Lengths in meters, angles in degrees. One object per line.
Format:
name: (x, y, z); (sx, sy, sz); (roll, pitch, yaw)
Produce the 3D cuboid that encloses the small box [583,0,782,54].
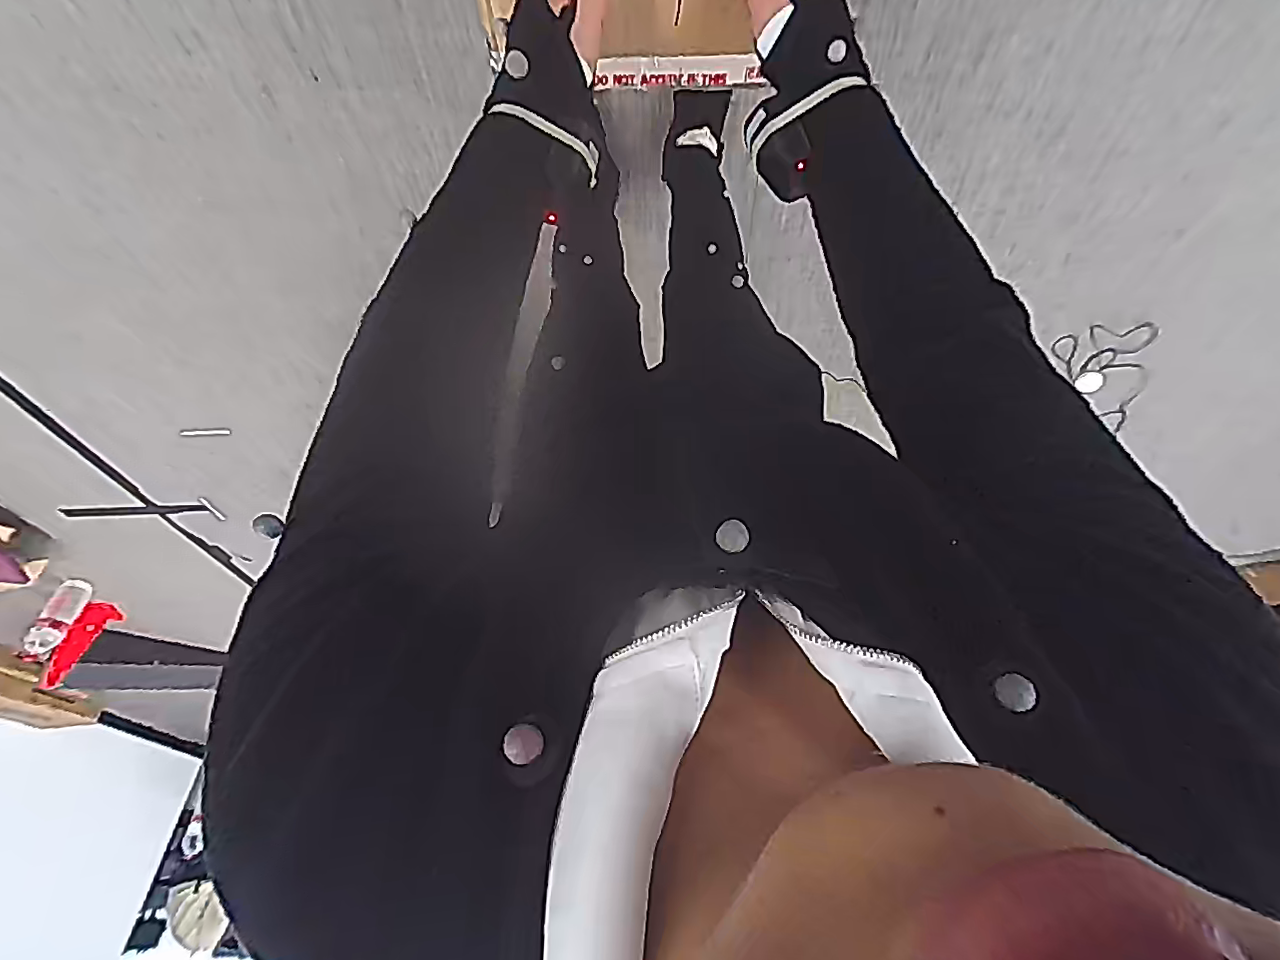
small box: (0.031, -0.484, 0.448); (0.168, 0.176, 0.179); (-2, 143, -2)
